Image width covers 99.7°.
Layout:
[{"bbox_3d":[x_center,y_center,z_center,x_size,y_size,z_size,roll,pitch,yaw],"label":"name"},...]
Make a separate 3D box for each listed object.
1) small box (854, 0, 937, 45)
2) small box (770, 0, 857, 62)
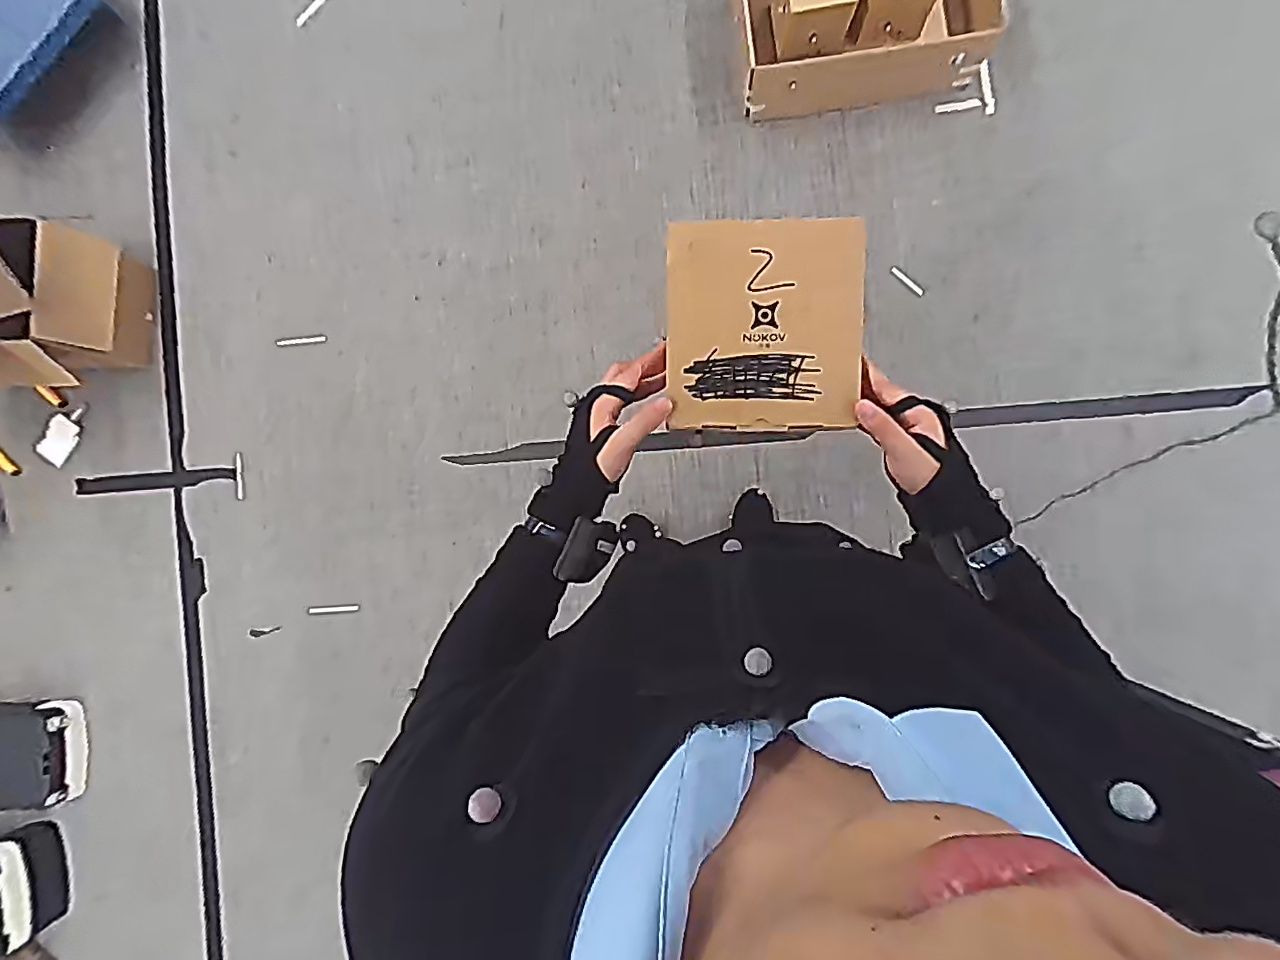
[{"bbox_3d":[0.653,-1.265,1.380,0.168,0.176,0.179,-1,89,5],"label":"small box"},{"bbox_3d":[0.440,-1.222,1.392,0.168,0.176,0.179,-8,88,3],"label":"small box"}]
